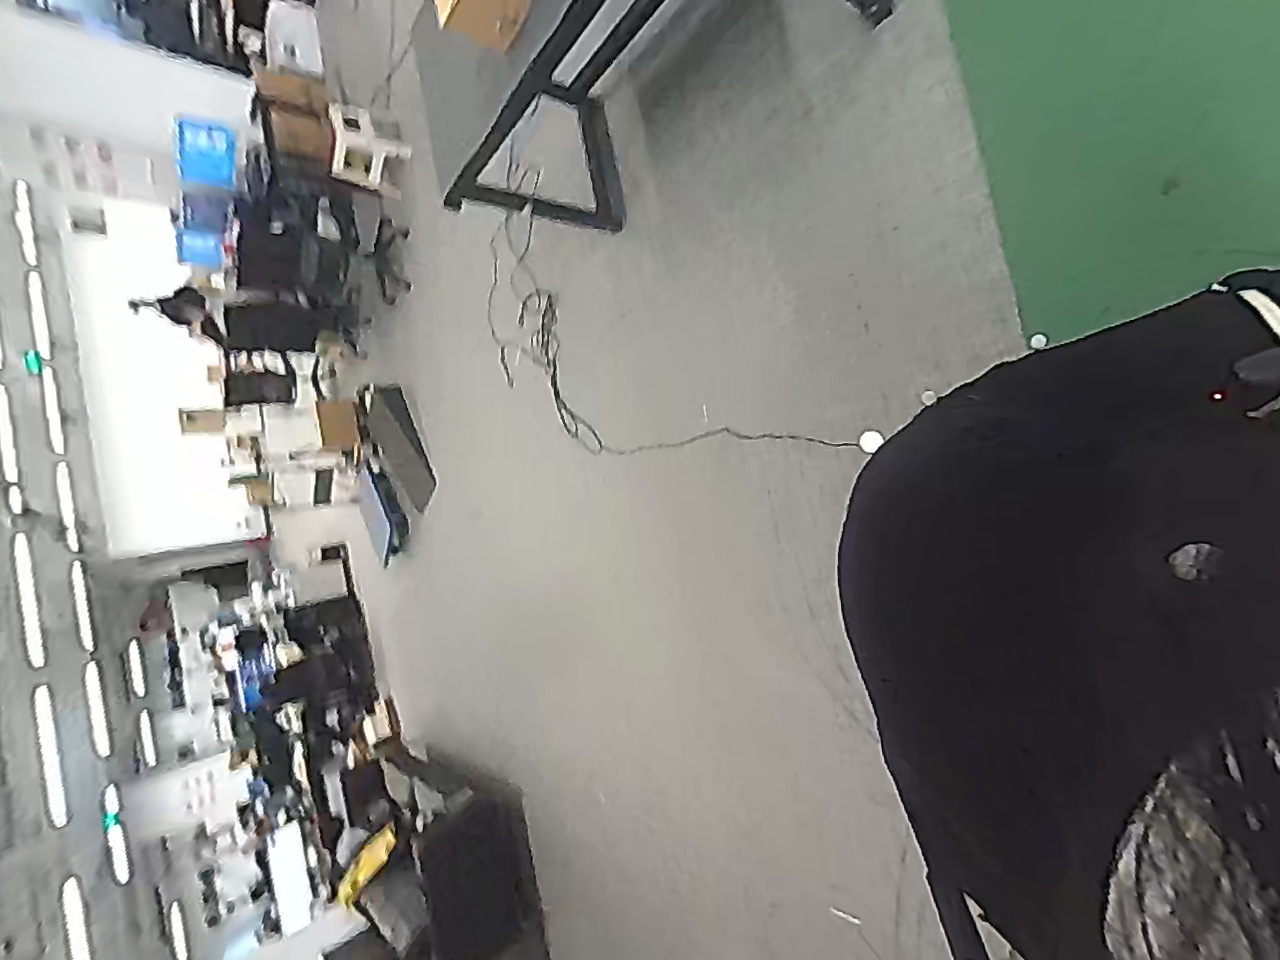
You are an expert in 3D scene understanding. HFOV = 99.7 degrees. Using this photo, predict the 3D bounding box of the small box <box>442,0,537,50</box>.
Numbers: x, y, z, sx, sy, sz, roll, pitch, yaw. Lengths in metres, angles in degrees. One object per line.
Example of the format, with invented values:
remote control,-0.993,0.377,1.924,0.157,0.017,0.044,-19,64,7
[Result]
small box,-0.369,-1.203,1.304,0.168,0.176,0.179,-15,85,50
